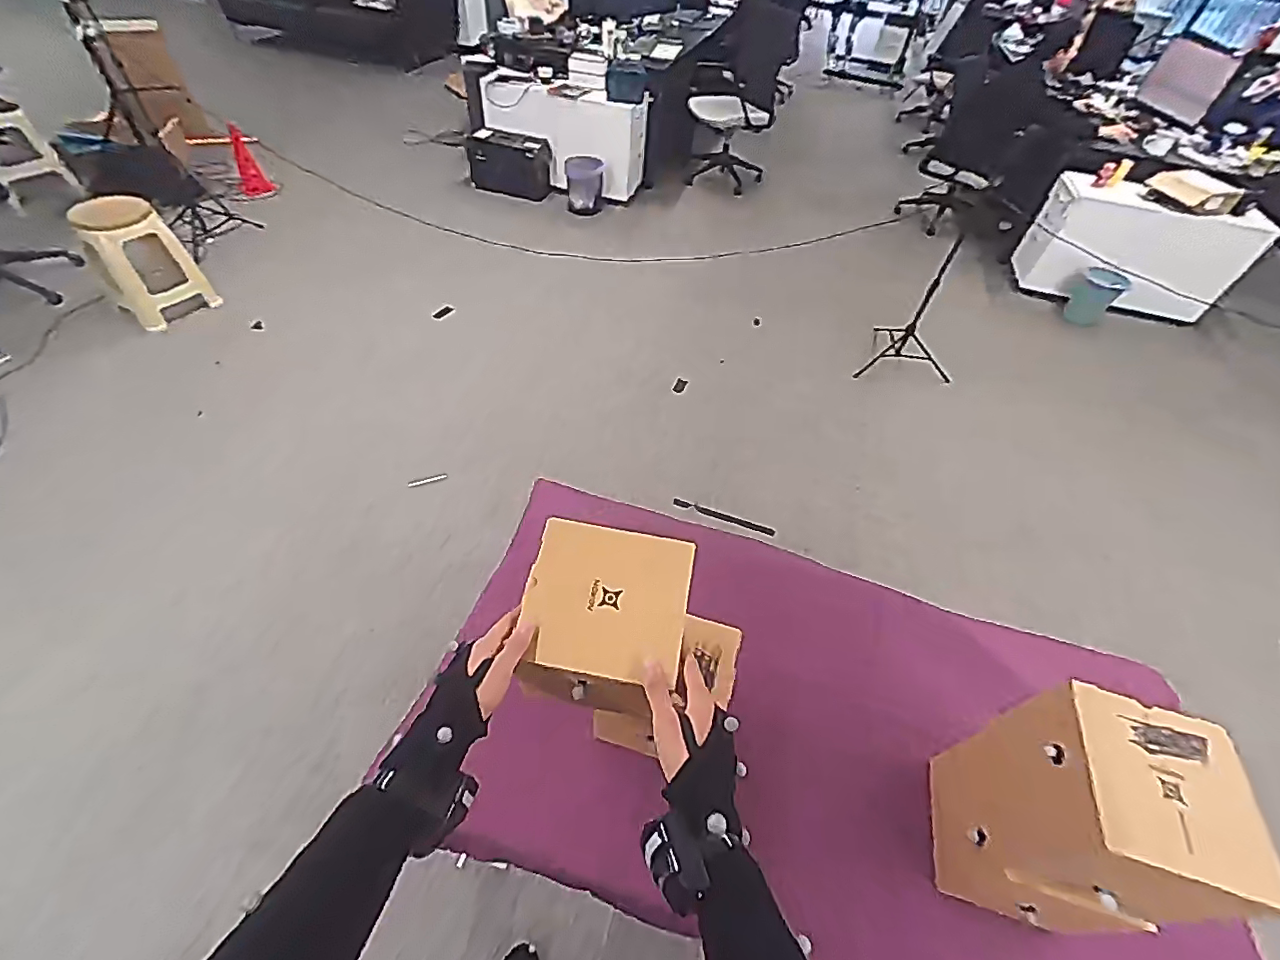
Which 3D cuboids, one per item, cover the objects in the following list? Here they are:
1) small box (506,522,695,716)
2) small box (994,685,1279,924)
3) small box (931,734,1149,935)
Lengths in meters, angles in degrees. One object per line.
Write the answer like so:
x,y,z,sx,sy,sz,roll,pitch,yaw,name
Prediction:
-0.039,0.173,0.647,0.179,0.176,0.168,9,57,4,small box
0.537,0.371,0.619,0.168,0.176,0.179,17,50,9,small box
0.520,0.484,0.737,0.168,0.176,0.179,17,50,8,small box
